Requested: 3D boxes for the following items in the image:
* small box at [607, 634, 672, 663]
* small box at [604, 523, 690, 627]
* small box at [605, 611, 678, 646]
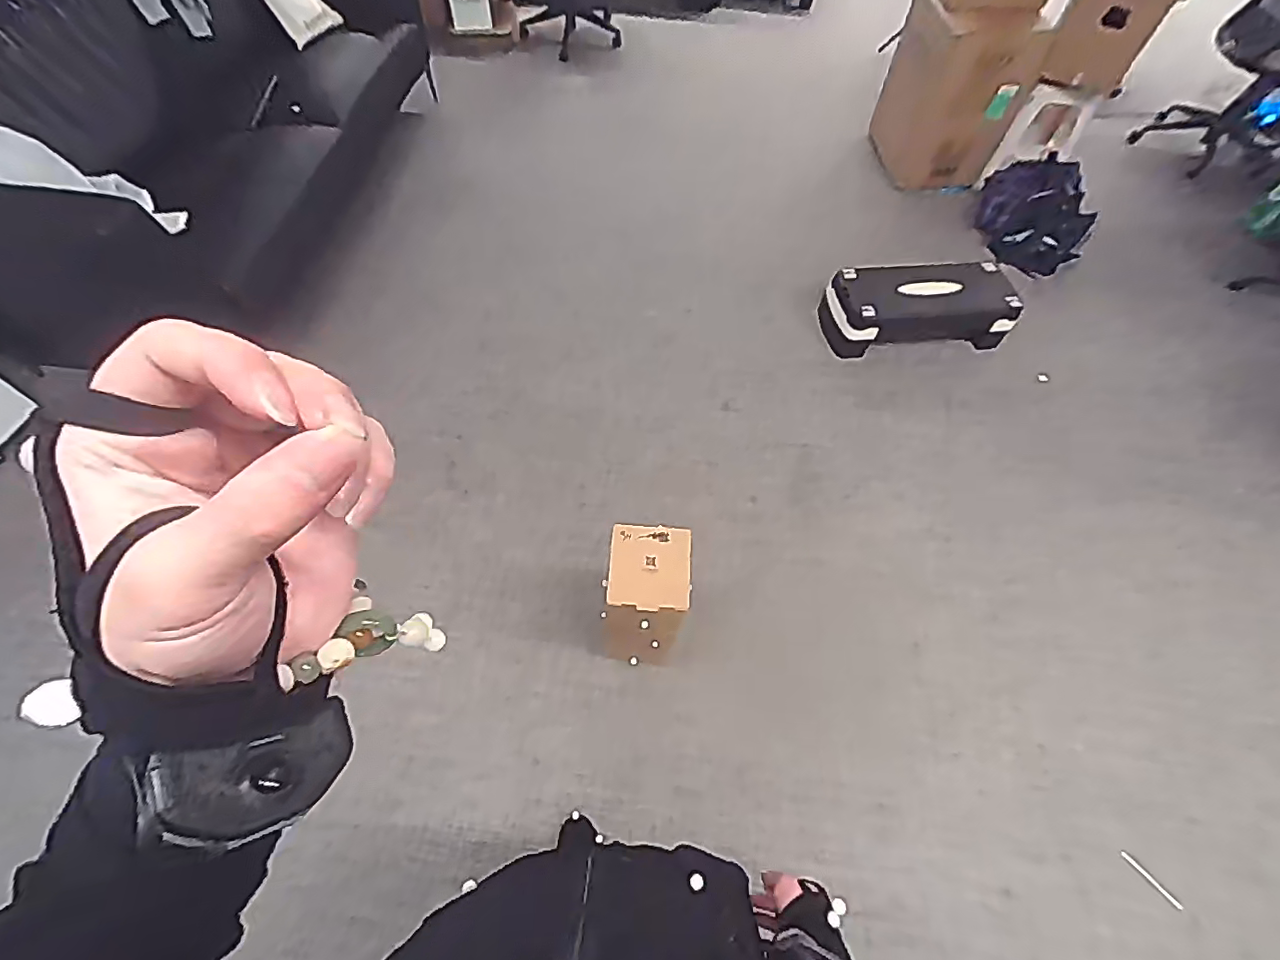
[{"bbox_3d":[0.004,0.371,1.436,0.168,0.176,0.179,6,60,2],"label":"small box"},{"bbox_3d":[0.016,0.208,1.155,0.168,0.176,0.179,4,61,0],"label":"small box"},{"bbox_3d":[0.009,0.290,1.297,0.168,0.176,0.179,5,58,0],"label":"small box"}]
